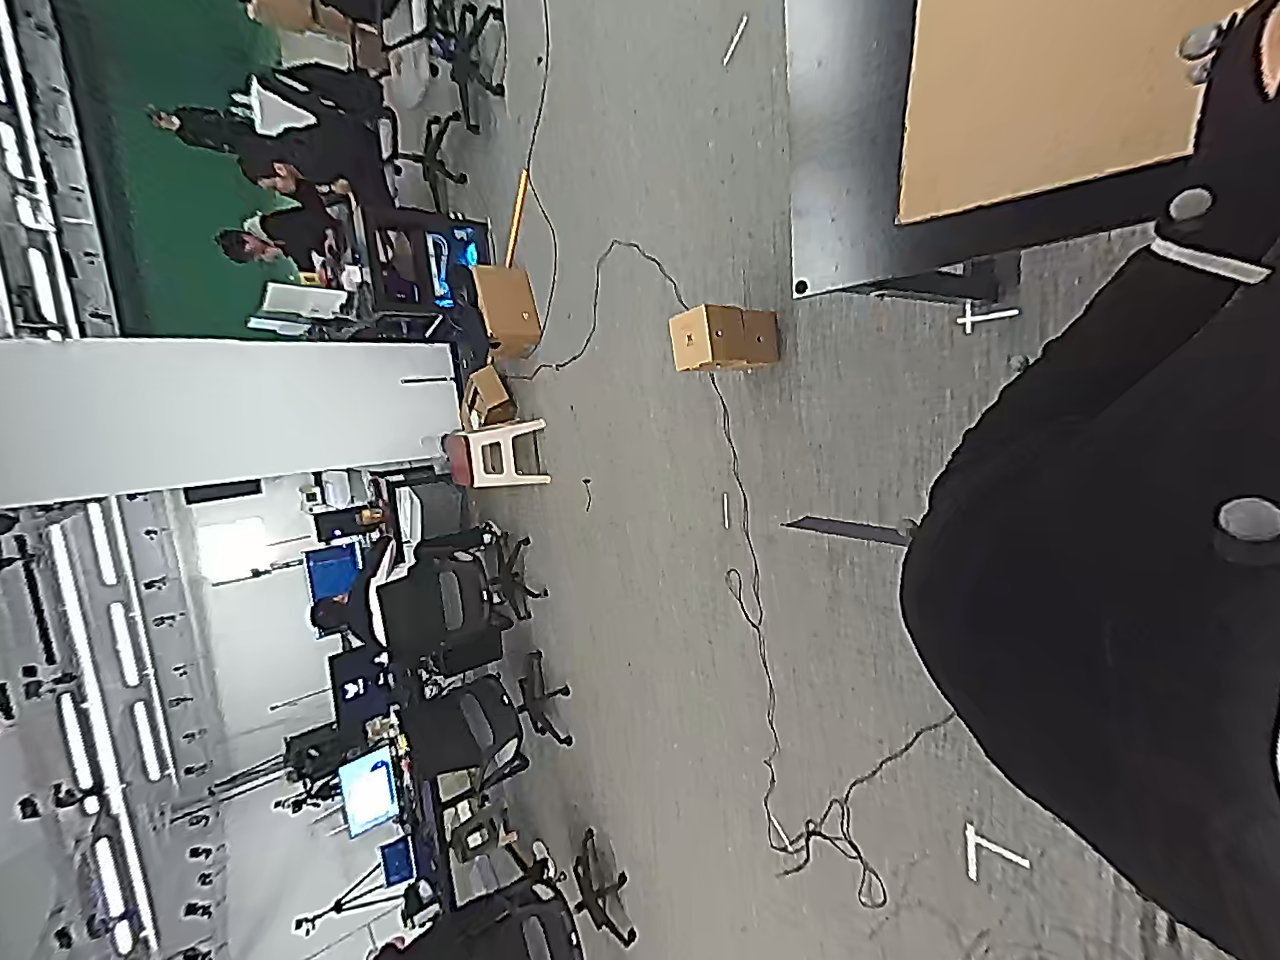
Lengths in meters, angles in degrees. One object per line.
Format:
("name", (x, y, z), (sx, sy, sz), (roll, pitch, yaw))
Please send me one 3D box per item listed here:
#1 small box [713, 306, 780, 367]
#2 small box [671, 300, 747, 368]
("small box", (0.354, -0.481, 1.831), (0.168, 0.176, 0.179), (1, 100, 52))
("small box", (0.225, -0.463, 1.733), (0.168, 0.176, 0.179), (-5, 94, 52))
